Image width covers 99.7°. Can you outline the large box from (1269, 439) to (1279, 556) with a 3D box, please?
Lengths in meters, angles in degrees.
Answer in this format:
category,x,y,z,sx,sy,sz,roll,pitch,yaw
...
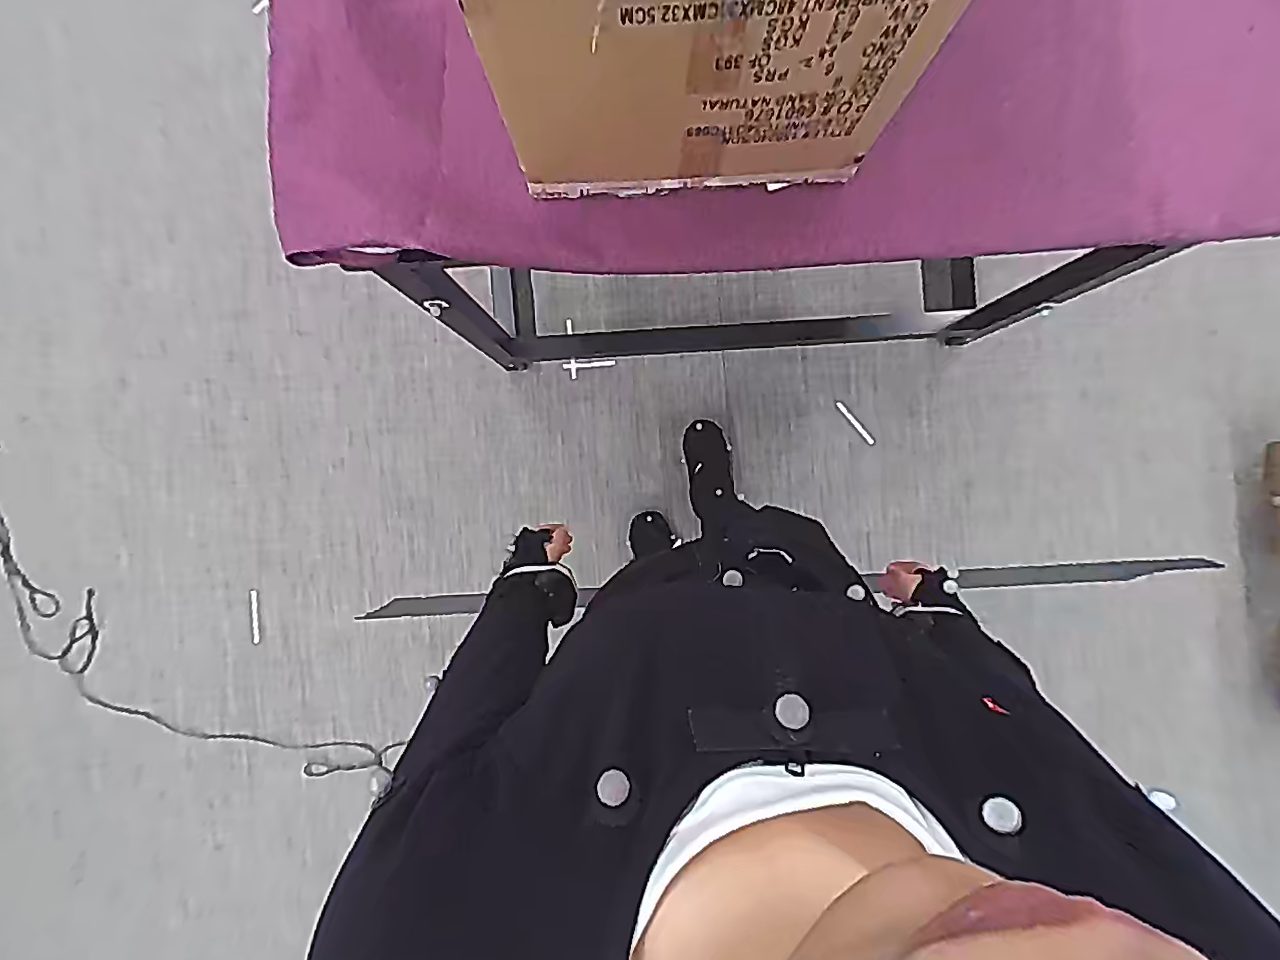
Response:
category,x,y,z,sx,sy,sz,roll,pitch,yaw
large box,1.798,0.035,1.214,0.408,0.320,0.320,-5,90,2
